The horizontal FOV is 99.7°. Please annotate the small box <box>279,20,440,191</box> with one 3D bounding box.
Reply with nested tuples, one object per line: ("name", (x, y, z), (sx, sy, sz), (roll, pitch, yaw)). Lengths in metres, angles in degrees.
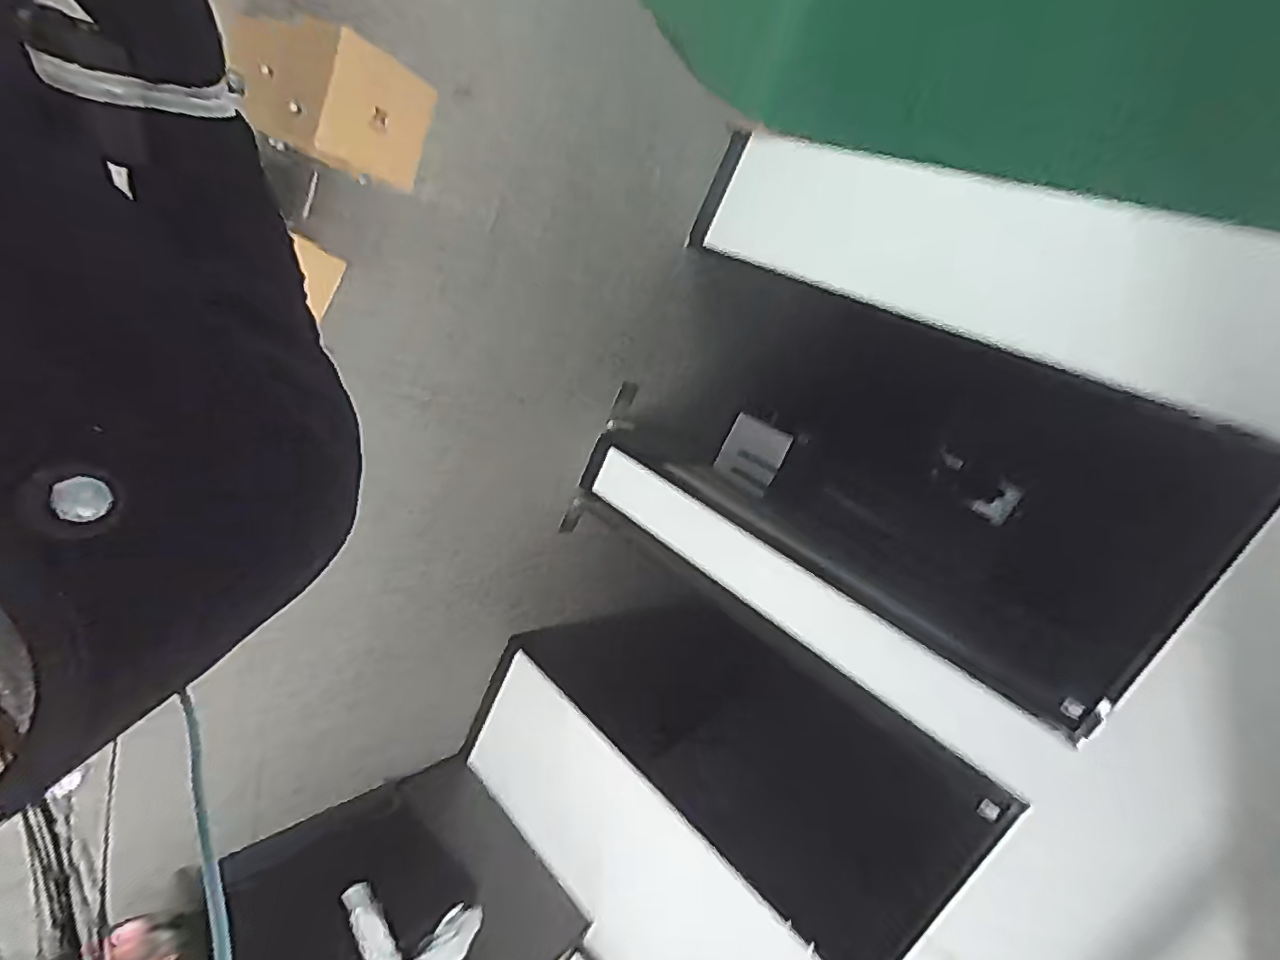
("small box", (-0.477, -0.626, 0.912), (0.168, 0.176, 0.179), (2, 116, -56))
